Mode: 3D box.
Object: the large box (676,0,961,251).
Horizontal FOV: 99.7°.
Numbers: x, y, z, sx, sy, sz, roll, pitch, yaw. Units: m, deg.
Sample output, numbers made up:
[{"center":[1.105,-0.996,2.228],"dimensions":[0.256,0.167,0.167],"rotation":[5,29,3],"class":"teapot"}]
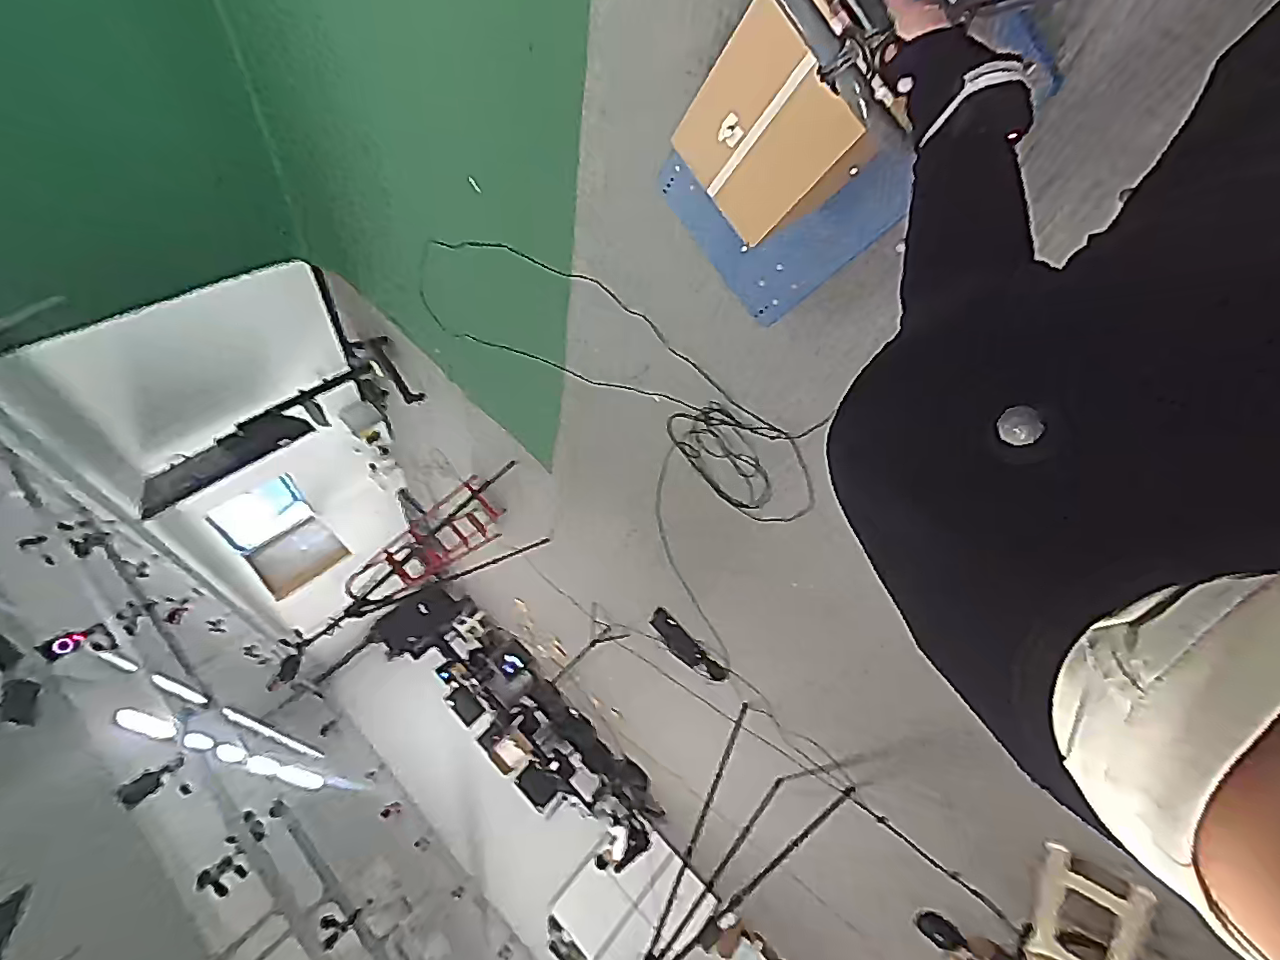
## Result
[{"center":[0.355,-0.780,1.132],"dimensions":[0.320,0.320,0.408],"rotation":[53,150,-4],"class":"large box"}]
